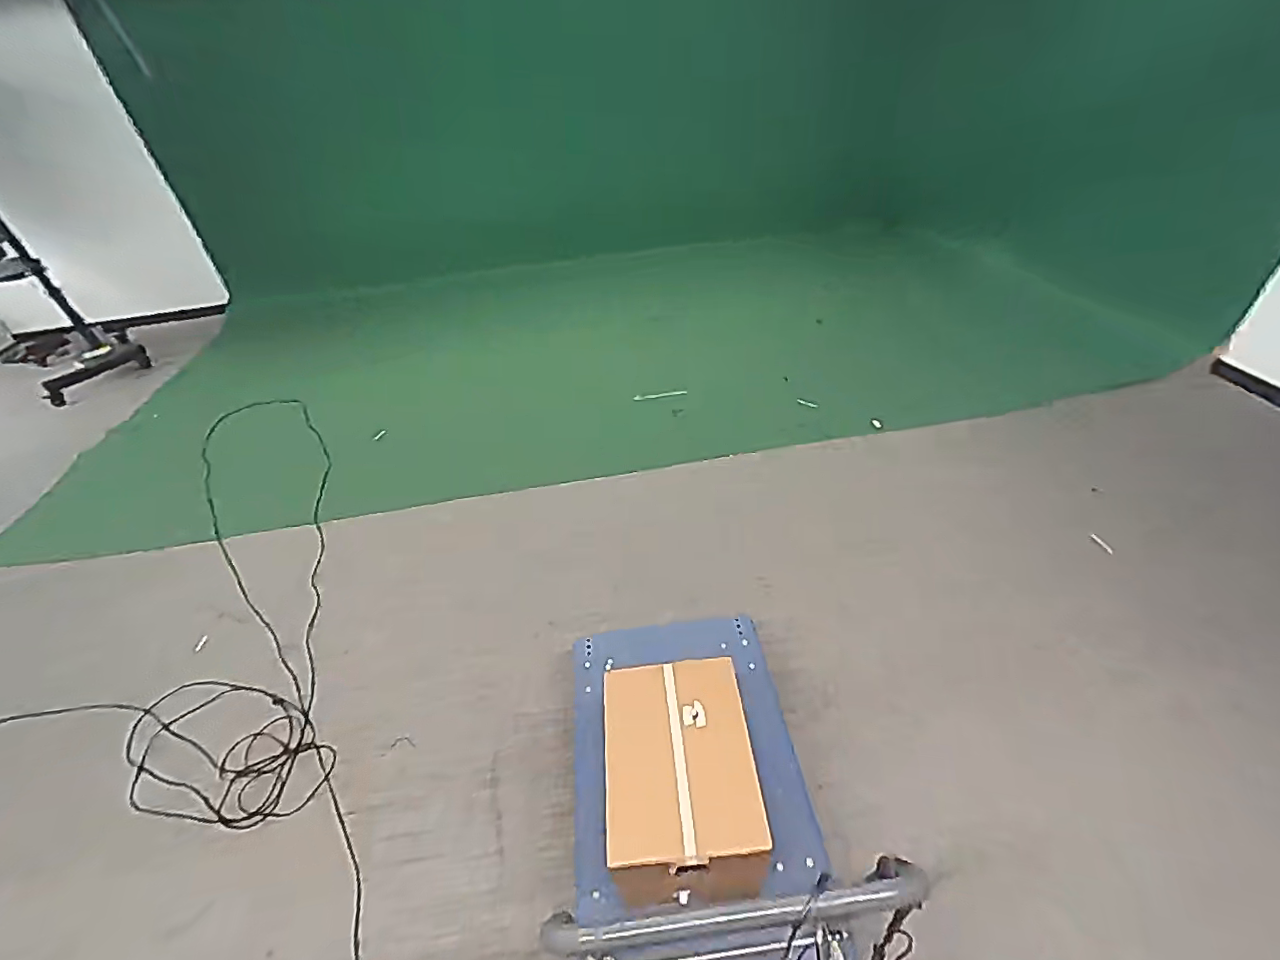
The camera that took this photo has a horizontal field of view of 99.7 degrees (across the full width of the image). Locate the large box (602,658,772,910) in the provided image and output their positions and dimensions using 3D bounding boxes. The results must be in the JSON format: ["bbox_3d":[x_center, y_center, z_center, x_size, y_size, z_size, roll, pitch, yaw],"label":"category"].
[{"bbox_3d":[0.091,0.683,1.238,0.320,0.320,0.408,-6,40,0],"label":"large box"}]
